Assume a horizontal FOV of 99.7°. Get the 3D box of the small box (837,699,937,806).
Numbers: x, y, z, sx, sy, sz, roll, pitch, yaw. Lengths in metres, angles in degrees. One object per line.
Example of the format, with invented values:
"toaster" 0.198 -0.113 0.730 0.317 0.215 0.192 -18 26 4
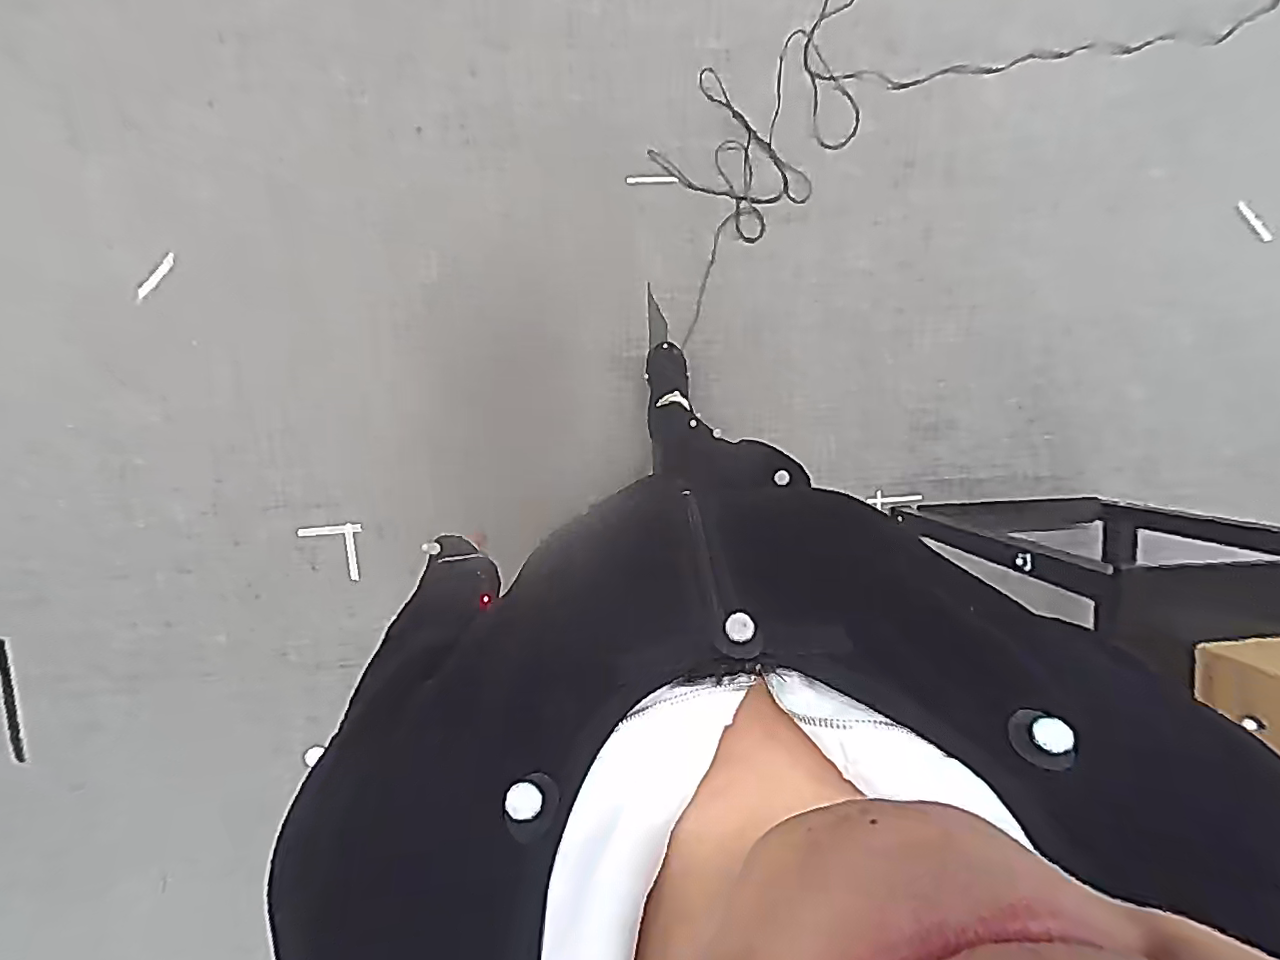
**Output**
"small box" 0.665 0.740 1.483 0.168 0.176 0.179 19 94 -3
